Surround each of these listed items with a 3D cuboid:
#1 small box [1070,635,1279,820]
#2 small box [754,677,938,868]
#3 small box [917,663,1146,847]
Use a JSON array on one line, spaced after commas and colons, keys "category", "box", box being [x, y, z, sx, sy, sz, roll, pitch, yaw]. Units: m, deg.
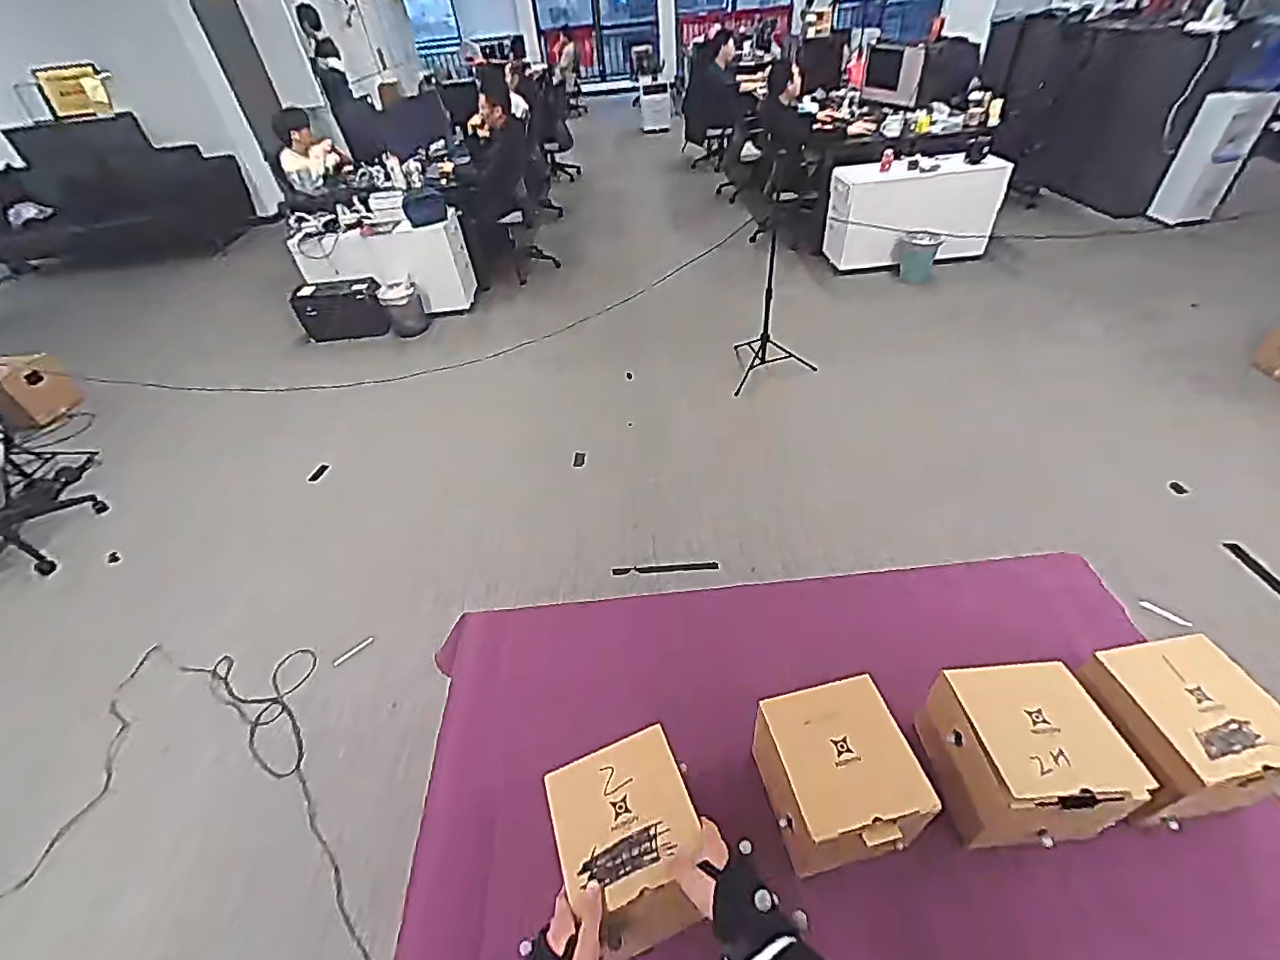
[{"category": "small box", "box": [0.729, 0.347, 0.751, 0.168, 0.176, 0.179, -9, 41, -3]}, {"category": "small box", "box": [0.266, 0.406, 0.745, 0.168, 0.176, 0.179, -11, 42, -6]}, {"category": "small box", "box": [0.511, 0.377, 0.744, 0.168, 0.176, 0.179, -5, 42, 2]}]
